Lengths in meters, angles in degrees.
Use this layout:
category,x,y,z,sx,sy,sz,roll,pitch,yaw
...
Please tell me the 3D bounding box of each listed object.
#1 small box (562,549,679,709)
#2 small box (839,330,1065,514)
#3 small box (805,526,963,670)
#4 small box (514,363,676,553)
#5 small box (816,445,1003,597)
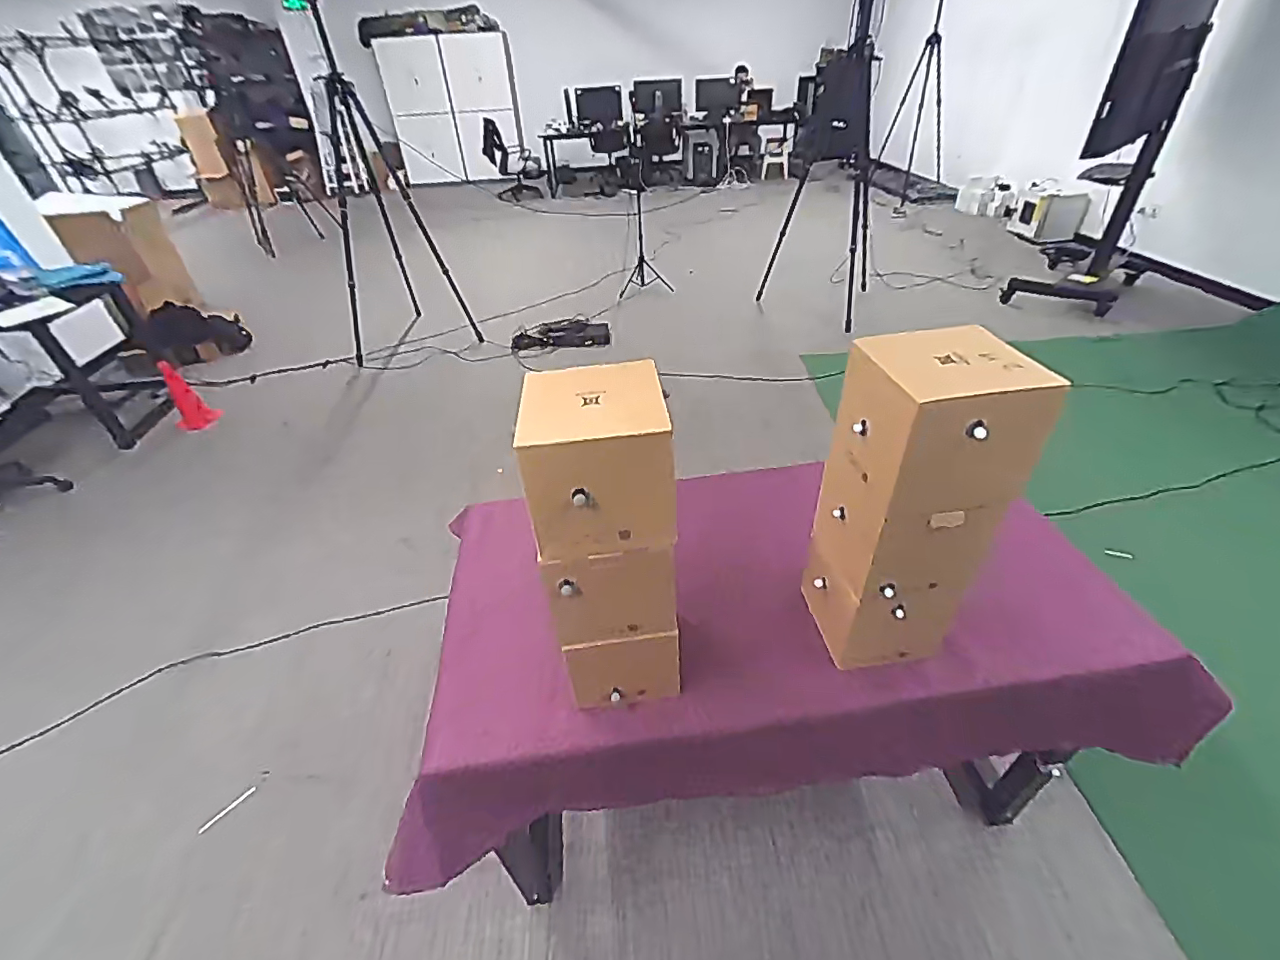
category,x,y,z,sx,sy,sz,roll,pitch,yaw
small box,-0.032,0.237,0.866,0.168,0.176,0.179,-7,39,-2
small box,0.370,-0.072,0.687,0.179,0.176,0.168,-6,39,-3
small box,0.384,0.184,0.894,0.168,0.176,0.179,-8,38,-3
small box,-0.050,-0.024,0.668,0.168,0.176,0.179,-7,37,-2
small box,0.376,0.055,0.793,0.168,0.176,0.179,-7,38,-4
